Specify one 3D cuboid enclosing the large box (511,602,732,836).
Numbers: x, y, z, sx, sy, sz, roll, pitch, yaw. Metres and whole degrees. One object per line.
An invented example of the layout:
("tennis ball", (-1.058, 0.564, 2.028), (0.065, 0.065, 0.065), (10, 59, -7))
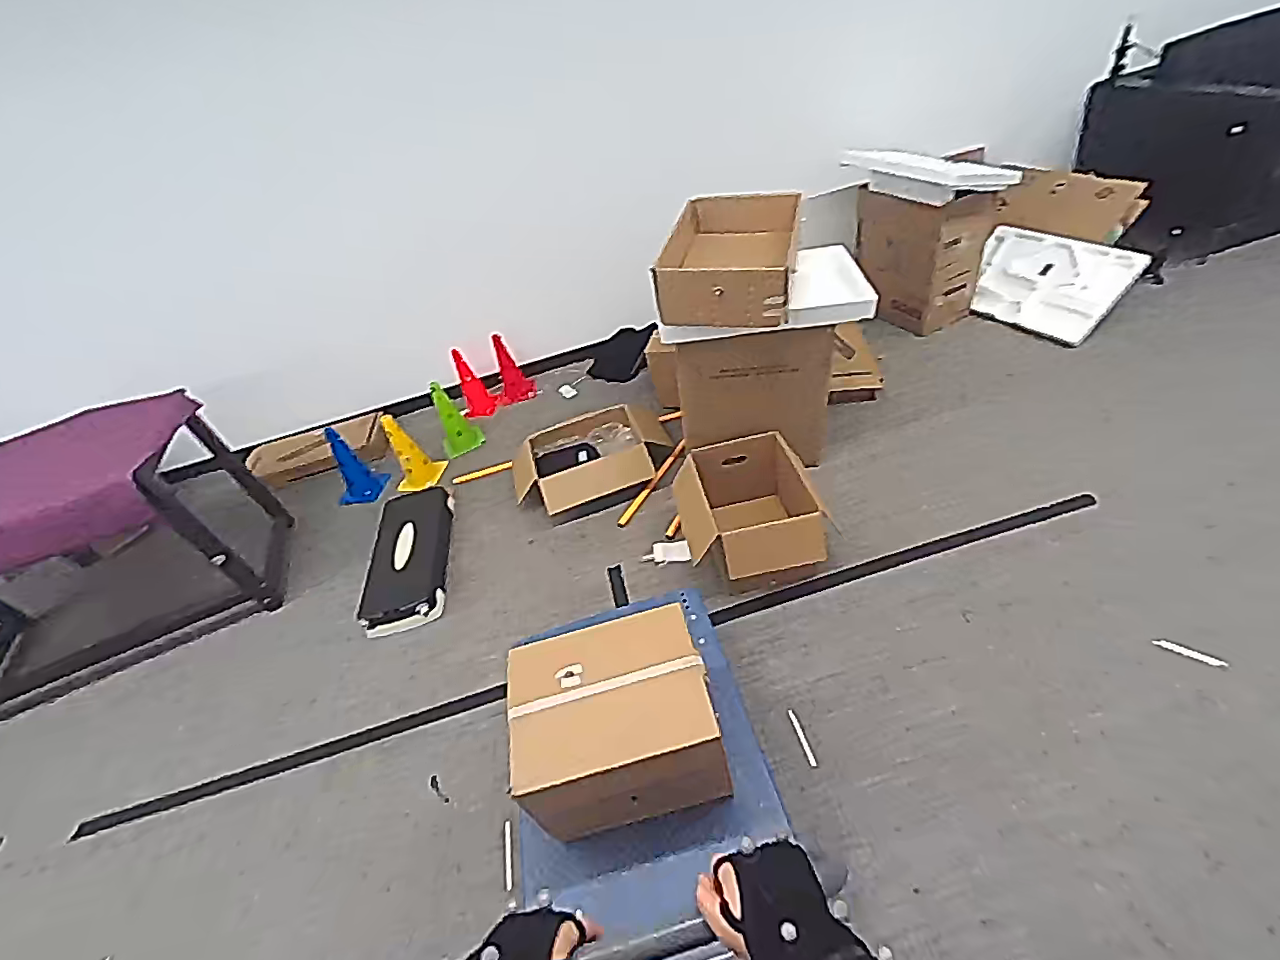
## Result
("large box", (-0.041, 0.538, 1.219), (0.408, 0.320, 0.320), (-17, 41, -1))
